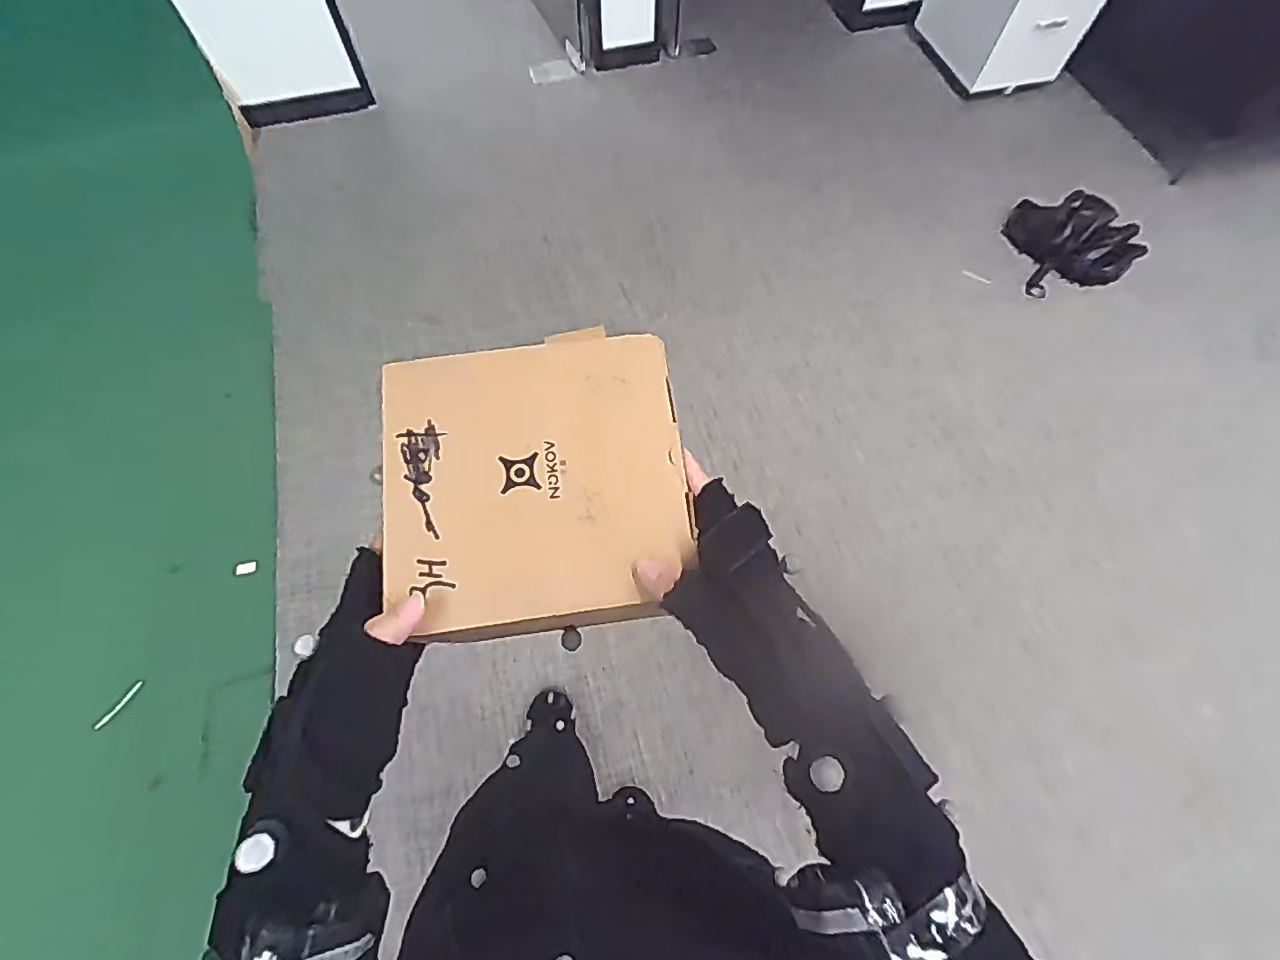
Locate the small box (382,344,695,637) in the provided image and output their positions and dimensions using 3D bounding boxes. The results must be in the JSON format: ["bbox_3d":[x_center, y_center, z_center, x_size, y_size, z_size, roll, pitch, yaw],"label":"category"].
[{"bbox_3d":[-0.068,0.020,0.399,0.179,0.176,0.168,-6,72,-5],"label":"small box"}]

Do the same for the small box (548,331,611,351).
[{"bbox_3d":[-0.162,-0.304,1.564,0.179,0.176,0.168,-10,64,-5],"label":"small box"}]
